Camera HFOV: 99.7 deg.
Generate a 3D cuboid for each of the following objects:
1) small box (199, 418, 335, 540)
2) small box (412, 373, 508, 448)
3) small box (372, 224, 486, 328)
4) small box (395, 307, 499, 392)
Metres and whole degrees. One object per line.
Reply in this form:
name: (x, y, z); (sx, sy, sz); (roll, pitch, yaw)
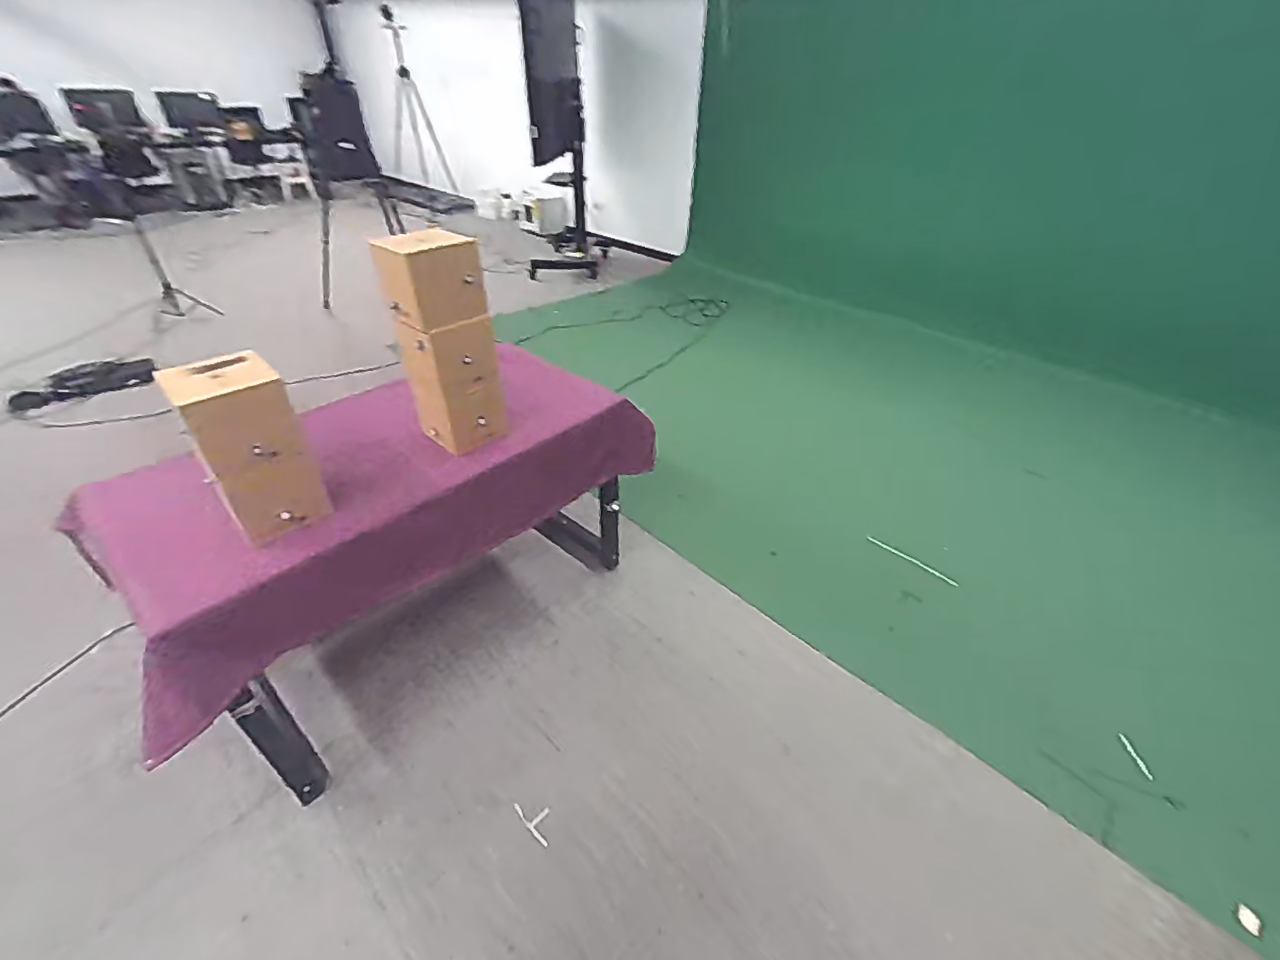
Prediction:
small box: (-0.784, -0.003, 1.146); (0.179, 0.176, 0.168); (33, 47, 33)
small box: (-0.467, -0.203, 1.424); (0.179, 0.176, 0.168); (31, 46, 32)
small box: (-0.467, -0.463, 1.223); (0.168, 0.176, 0.179); (29, 46, 33)
small box: (-0.465, -0.333, 1.322); (0.179, 0.176, 0.168); (30, 45, 32)
